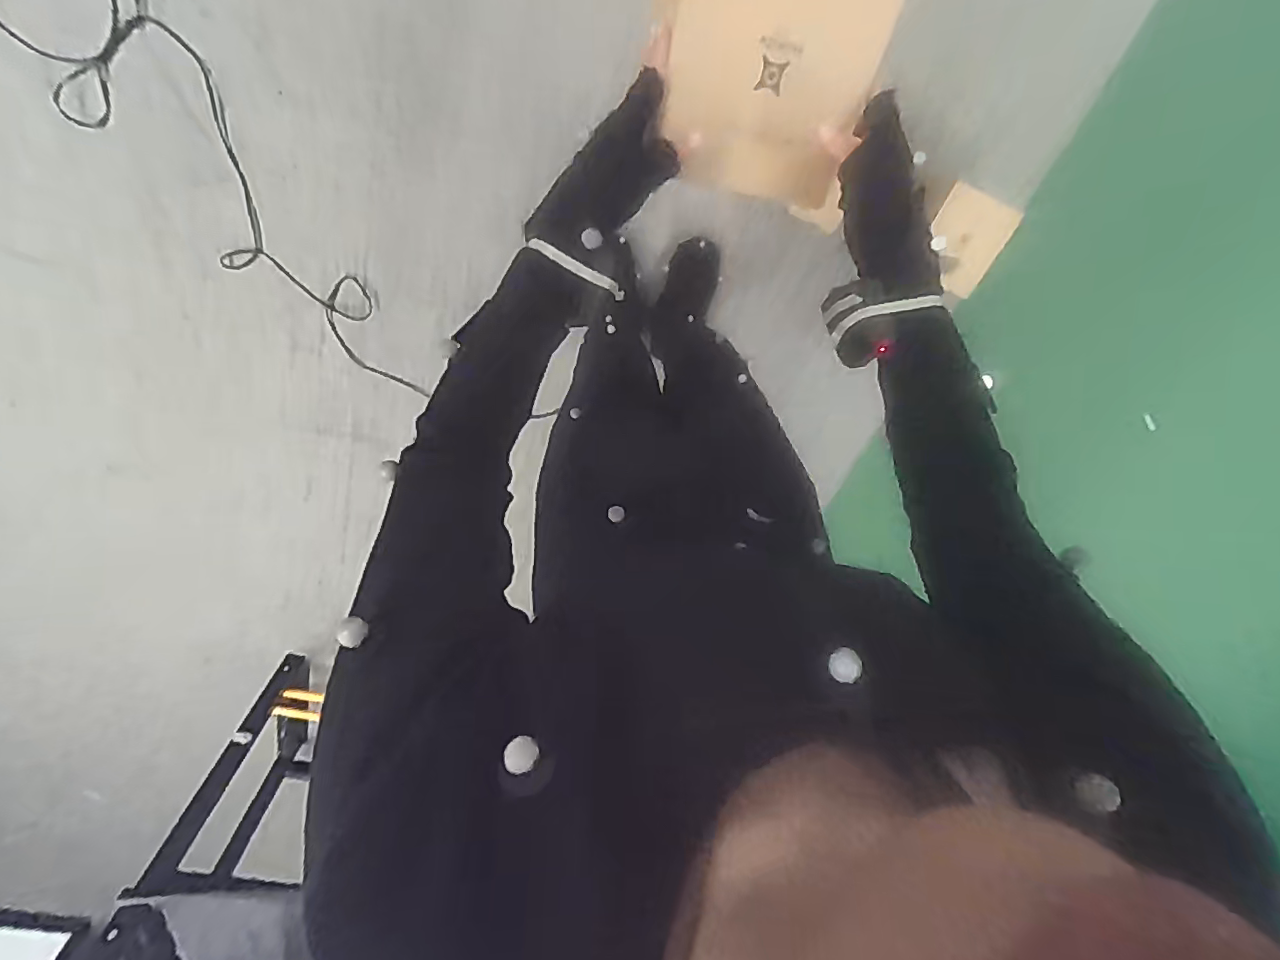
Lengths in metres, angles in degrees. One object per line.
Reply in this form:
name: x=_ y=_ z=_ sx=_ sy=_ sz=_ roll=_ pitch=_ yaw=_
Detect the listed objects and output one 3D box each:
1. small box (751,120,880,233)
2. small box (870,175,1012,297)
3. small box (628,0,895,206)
small box: x=0.323 y=-0.619 z=1.060 sx=0.168 sy=0.176 sz=0.179 roll=22 pitch=120 yaw=-16
small box: x=0.615 y=-0.517 z=1.138 sx=0.168 sy=0.176 sz=0.179 roll=17 pitch=120 yaw=-13
small box: x=0.088 y=-0.370 z=0.478 sx=0.168 sy=0.176 sz=0.179 roll=5 pitch=129 yaw=-12
